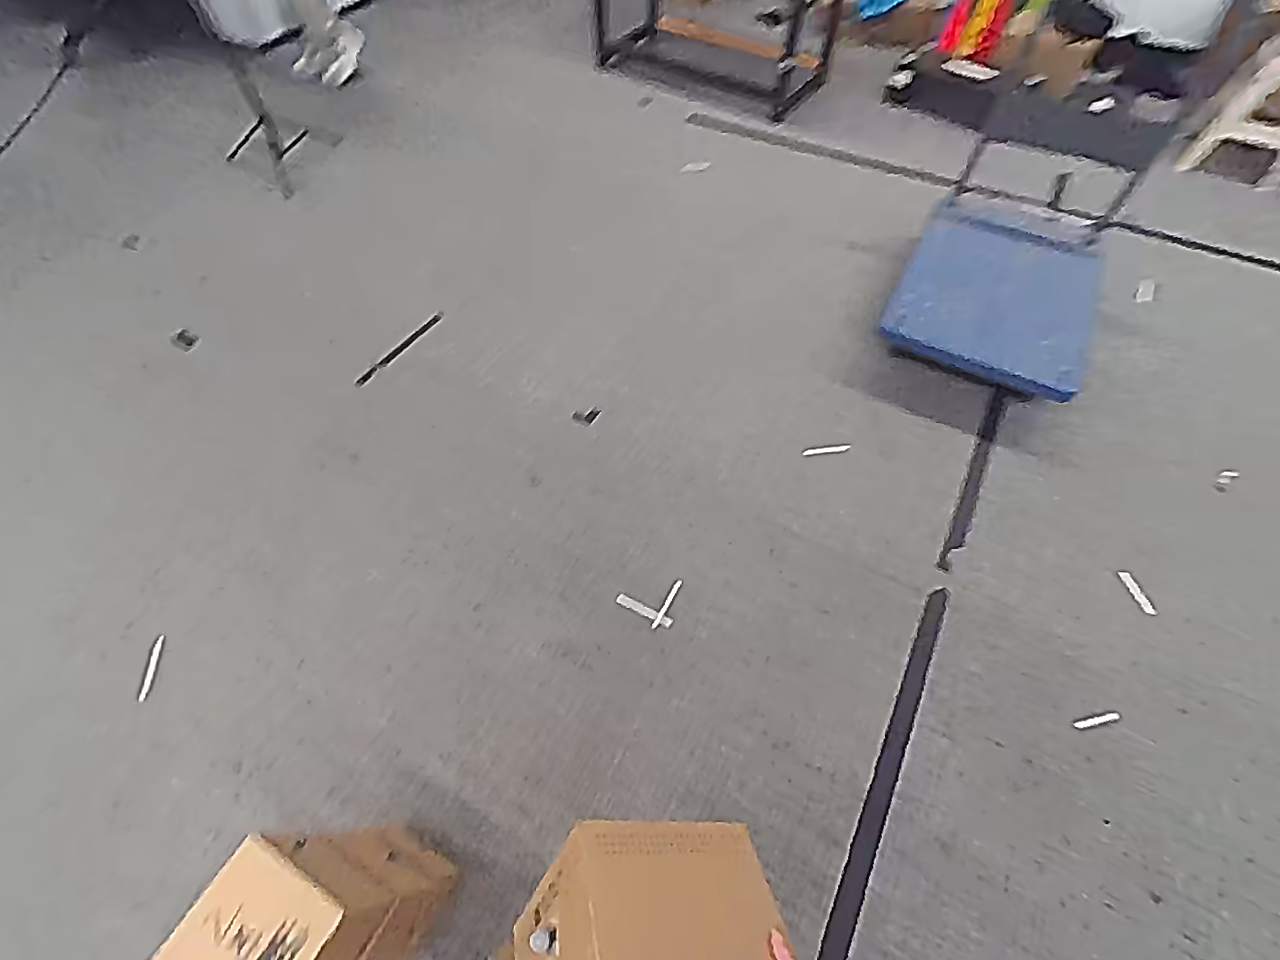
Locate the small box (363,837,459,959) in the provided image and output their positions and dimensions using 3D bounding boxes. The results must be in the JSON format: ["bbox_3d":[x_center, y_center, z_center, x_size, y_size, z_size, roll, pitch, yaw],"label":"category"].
[{"bbox_3d":[-0.464,0.793,0.996,0.168,0.176,0.179,23,60,14],"label":"small box"}]

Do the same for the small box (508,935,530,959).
[{"bbox_3d":[-0.182,0.922,0.912,0.168,0.176,0.179,27,60,16],"label":"small box"}]

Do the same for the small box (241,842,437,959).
[{"bbox_3d":[-0.460,0.708,0.855,0.179,0.176,0.168,22,60,15],"label":"small box"}]

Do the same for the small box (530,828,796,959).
[{"bbox_3d":[0.021,0.415,0.441,0.179,0.168,0.176,17,23,-22],"label":"small box"}]
